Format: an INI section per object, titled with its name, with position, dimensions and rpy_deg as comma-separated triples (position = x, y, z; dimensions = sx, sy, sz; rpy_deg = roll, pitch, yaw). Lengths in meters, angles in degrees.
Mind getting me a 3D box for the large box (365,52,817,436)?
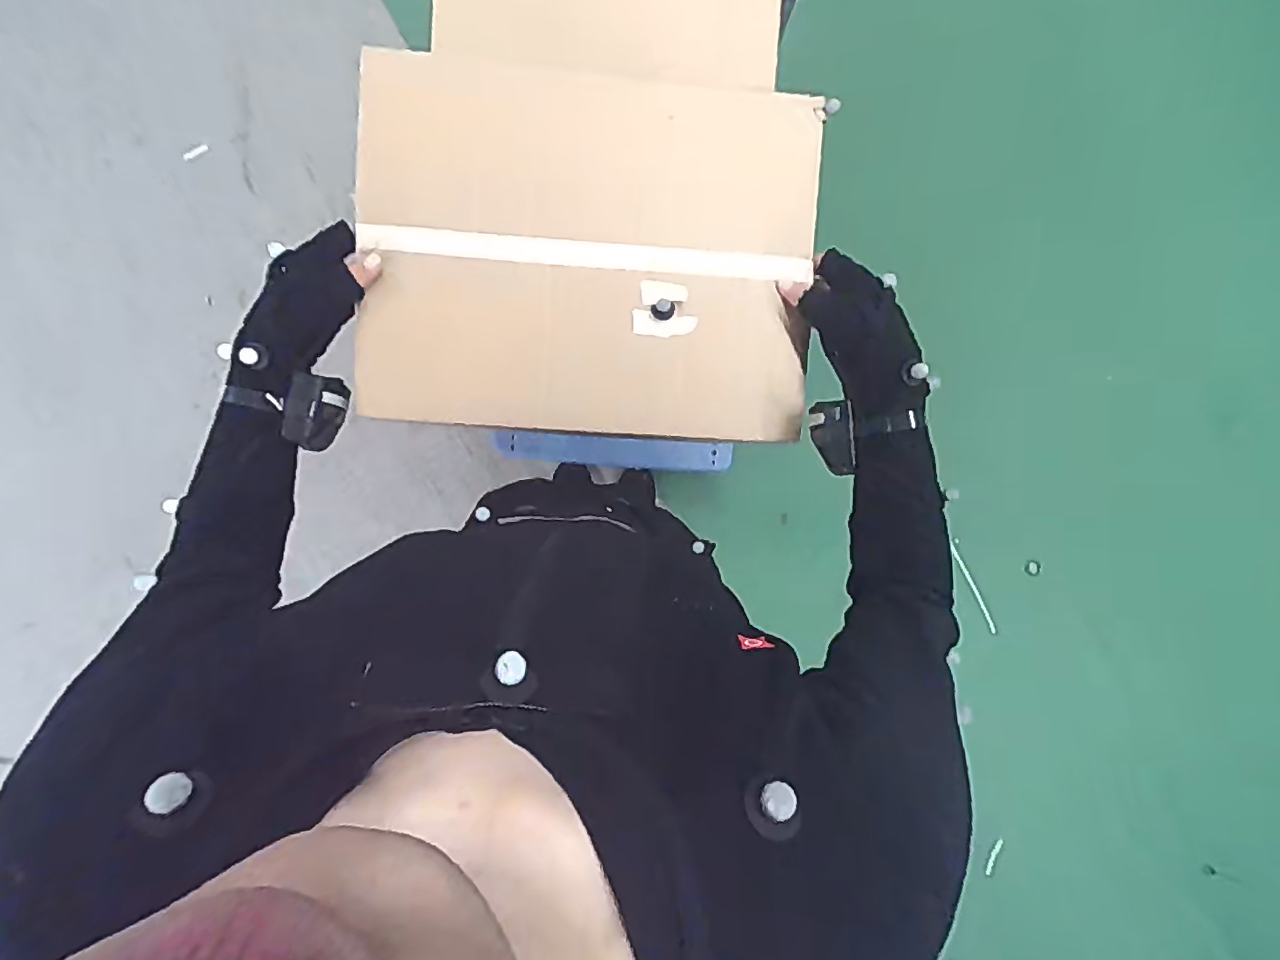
[large box]
position = -0.055, -0.215, 0.633
dimensions = 0.408, 0.320, 0.320
rpy_deg = 3, 94, -6
